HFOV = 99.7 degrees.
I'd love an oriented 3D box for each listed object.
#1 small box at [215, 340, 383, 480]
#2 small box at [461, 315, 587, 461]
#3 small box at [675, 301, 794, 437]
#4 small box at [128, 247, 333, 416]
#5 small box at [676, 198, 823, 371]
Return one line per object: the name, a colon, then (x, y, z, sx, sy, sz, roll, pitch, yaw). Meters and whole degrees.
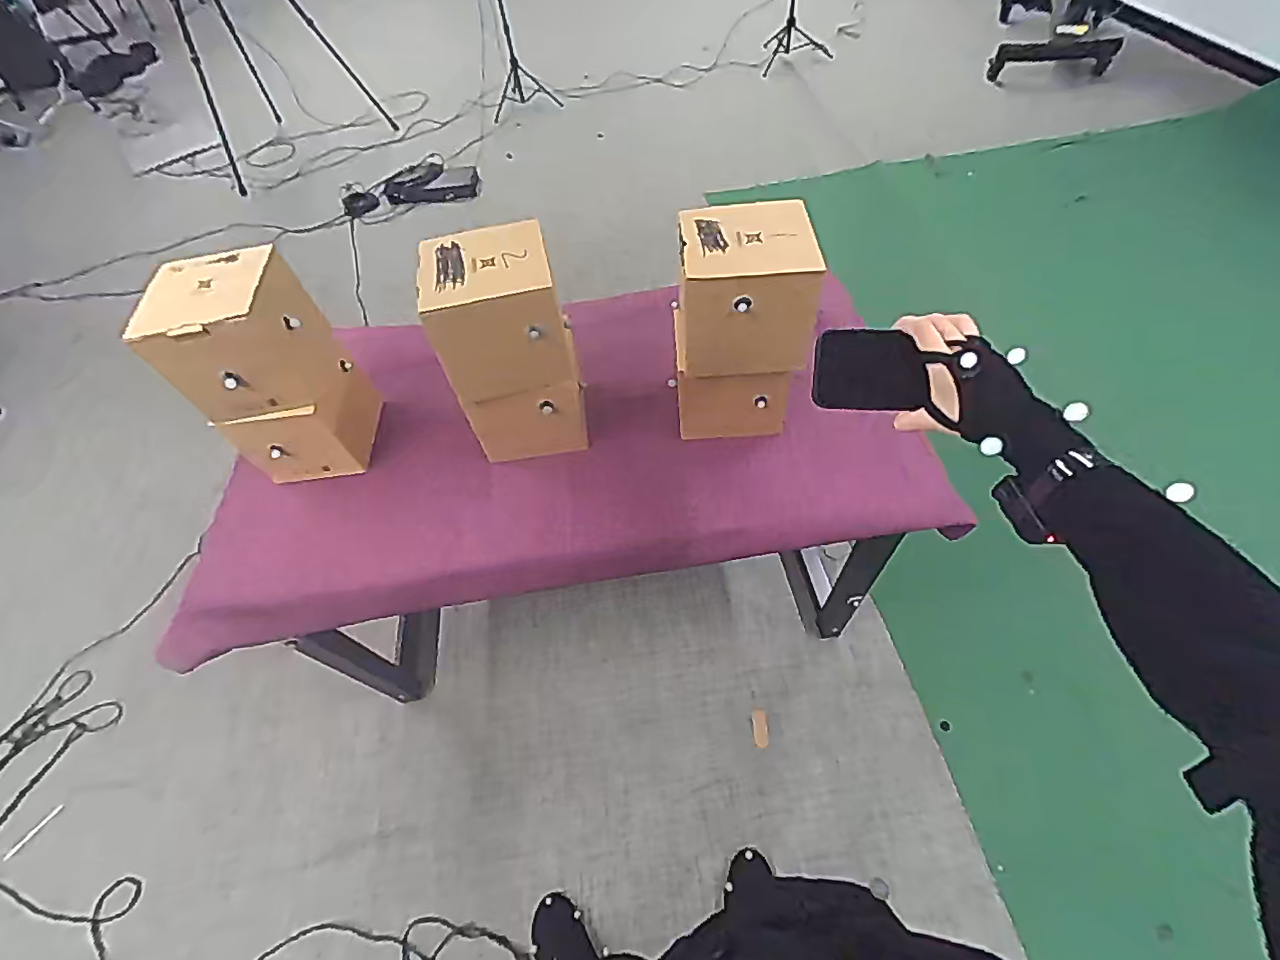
small box: (-0.576, -0.113, 0.944, 0.168, 0.176, 0.179, -8, 55, 1)
small box: (-0.188, -0.153, 0.926, 0.179, 0.176, 0.168, -9, 55, 0)
small box: (0.151, -0.189, 0.914, 0.179, 0.176, 0.168, -3, 55, 5)
small box: (-0.593, -0.213, 0.815, 0.168, 0.176, 0.179, -12, 55, -2)
small box: (0.146, -0.271, 0.771, 0.179, 0.176, 0.168, -3, 55, 4)
